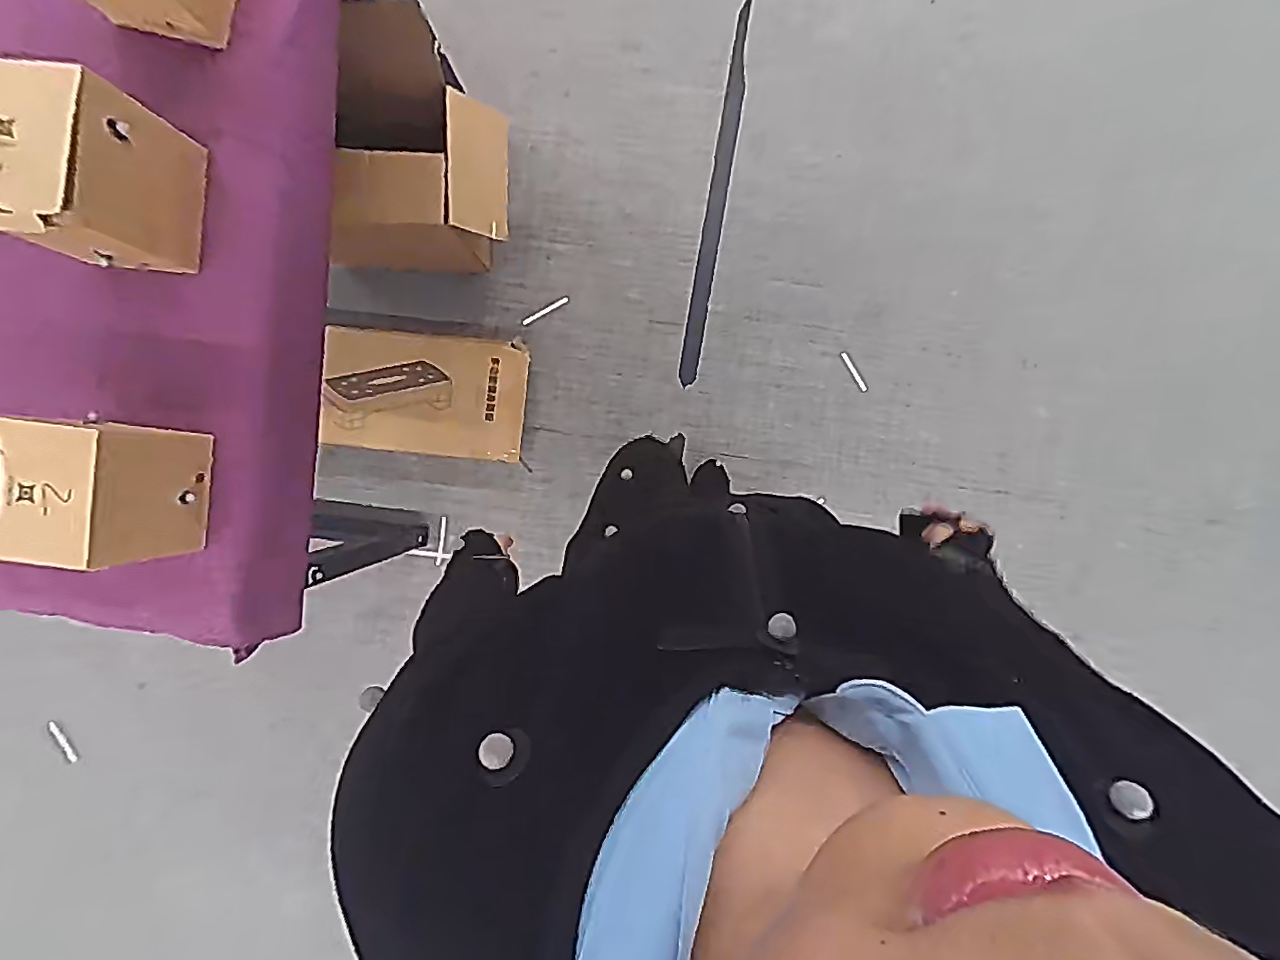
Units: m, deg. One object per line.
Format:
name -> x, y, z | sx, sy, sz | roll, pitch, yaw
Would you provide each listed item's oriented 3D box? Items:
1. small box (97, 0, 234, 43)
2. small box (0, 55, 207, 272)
small box -> -0.633, -0.697, 0.668 | 0.168, 0.176, 0.179 | 13, 92, 1
small box -> -0.692, -0.384, 0.679 | 0.168, 0.176, 0.179 | 6, 92, 4
